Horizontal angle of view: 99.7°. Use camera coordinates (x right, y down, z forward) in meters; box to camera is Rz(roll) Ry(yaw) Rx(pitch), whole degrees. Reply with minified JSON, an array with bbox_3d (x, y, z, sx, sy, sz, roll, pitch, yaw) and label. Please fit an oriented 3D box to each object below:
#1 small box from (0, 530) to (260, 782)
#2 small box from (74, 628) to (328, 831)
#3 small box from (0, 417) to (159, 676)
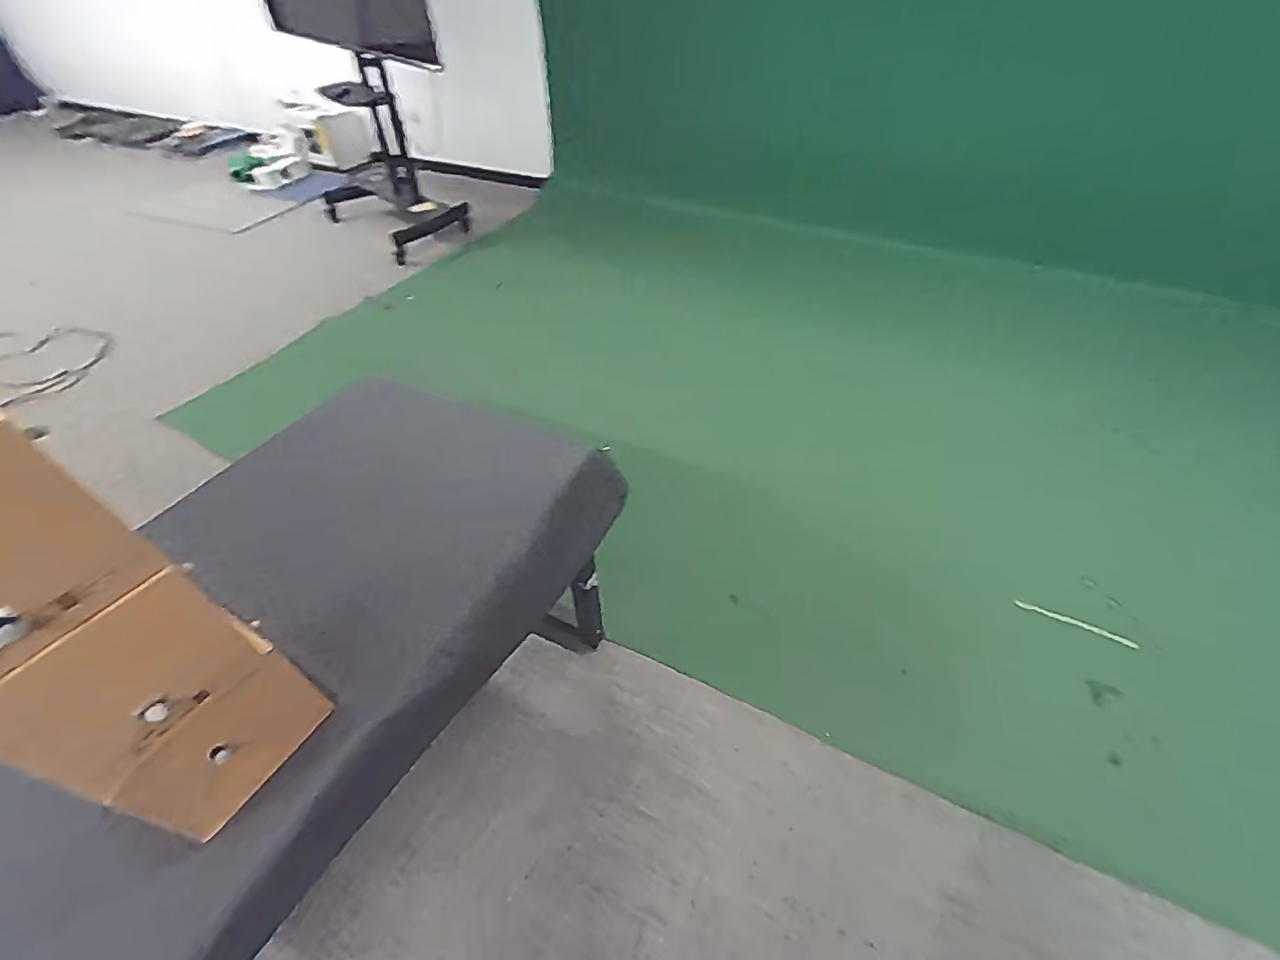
[{"bbox_3d":[-0.523,0.152,0.515,0.179,0.176,0.168,20,49,22],"label":"small box"},{"bbox_3d":[-0.515,0.269,0.631,0.168,0.176,0.179,21,50,21],"label":"small box"},{"bbox_3d":[-0.530,0.038,0.400,0.179,0.176,0.168,23,52,22],"label":"small box"}]
